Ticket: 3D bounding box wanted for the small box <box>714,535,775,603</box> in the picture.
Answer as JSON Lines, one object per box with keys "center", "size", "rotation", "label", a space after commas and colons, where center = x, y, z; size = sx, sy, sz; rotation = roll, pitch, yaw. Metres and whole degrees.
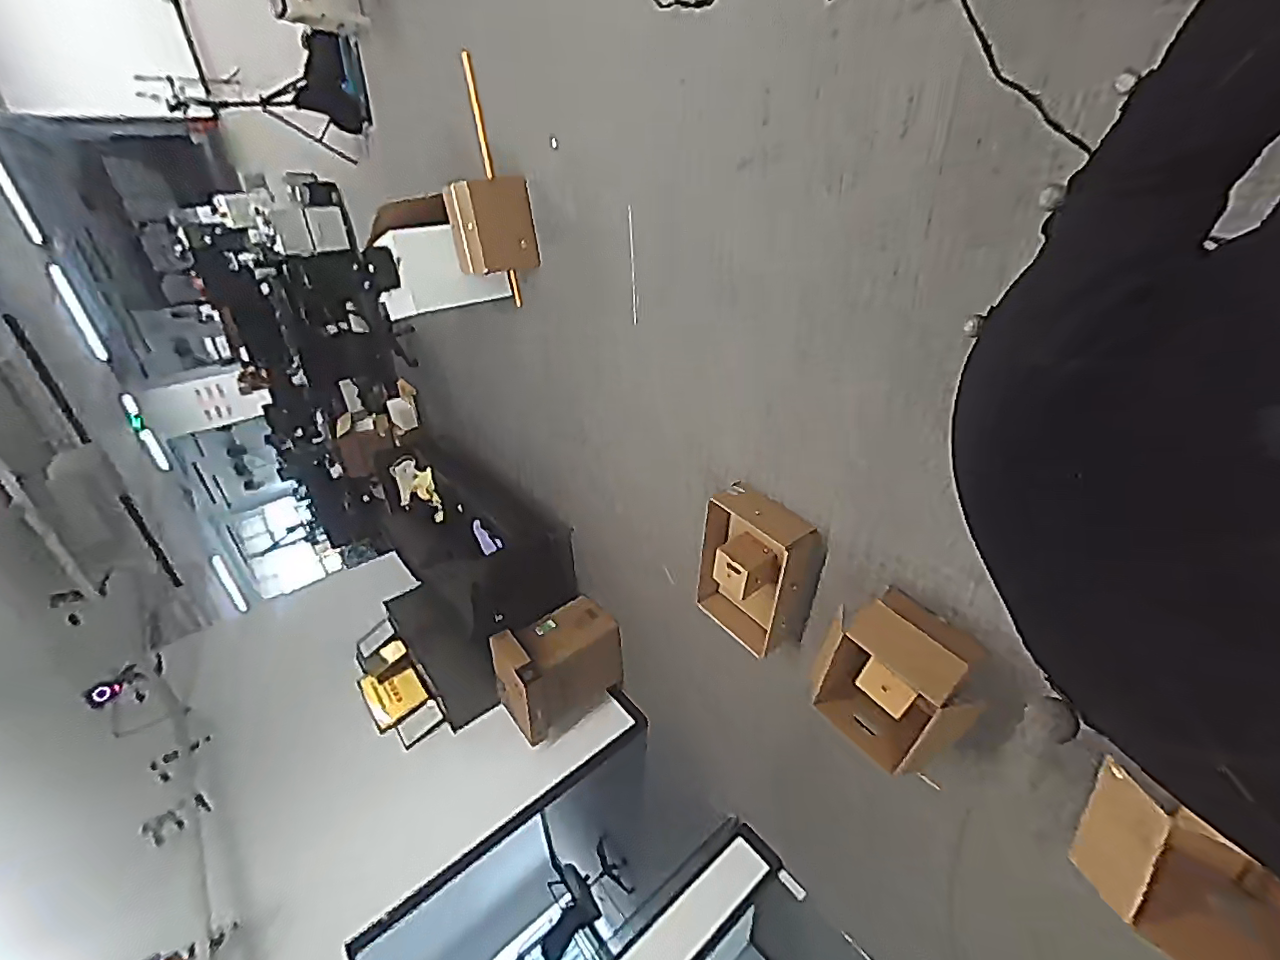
{"center": [0.422, 0.353, 2.172], "size": [0.168, 0.176, 0.179], "rotation": [38, 140, 38], "label": "small box"}
